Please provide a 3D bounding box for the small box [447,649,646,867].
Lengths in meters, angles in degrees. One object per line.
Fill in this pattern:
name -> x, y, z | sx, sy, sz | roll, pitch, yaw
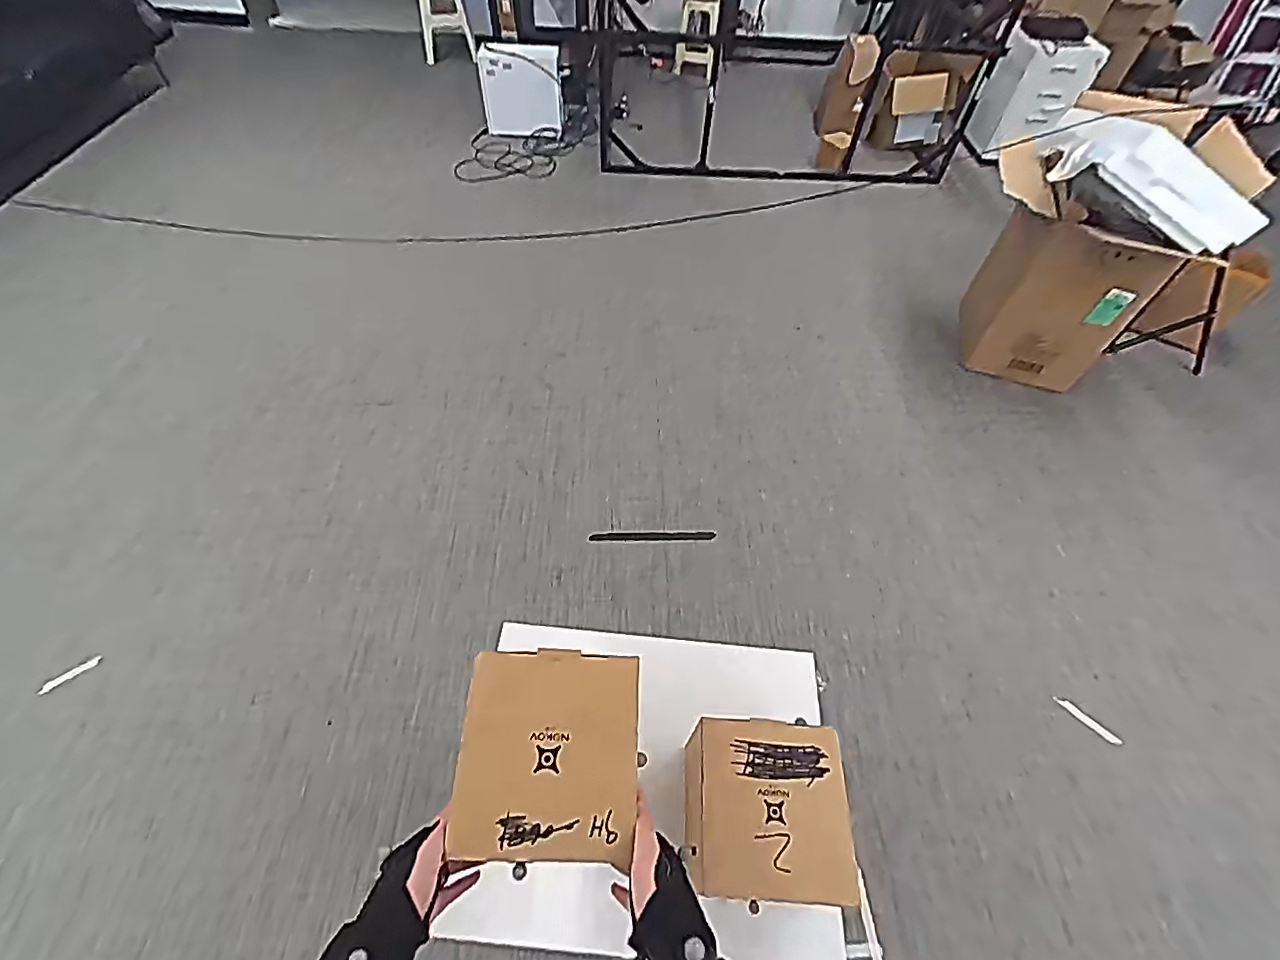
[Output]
small box -> -0.085, 0.290, 0.567 | 0.168, 0.176, 0.179 | 3, 60, -2
